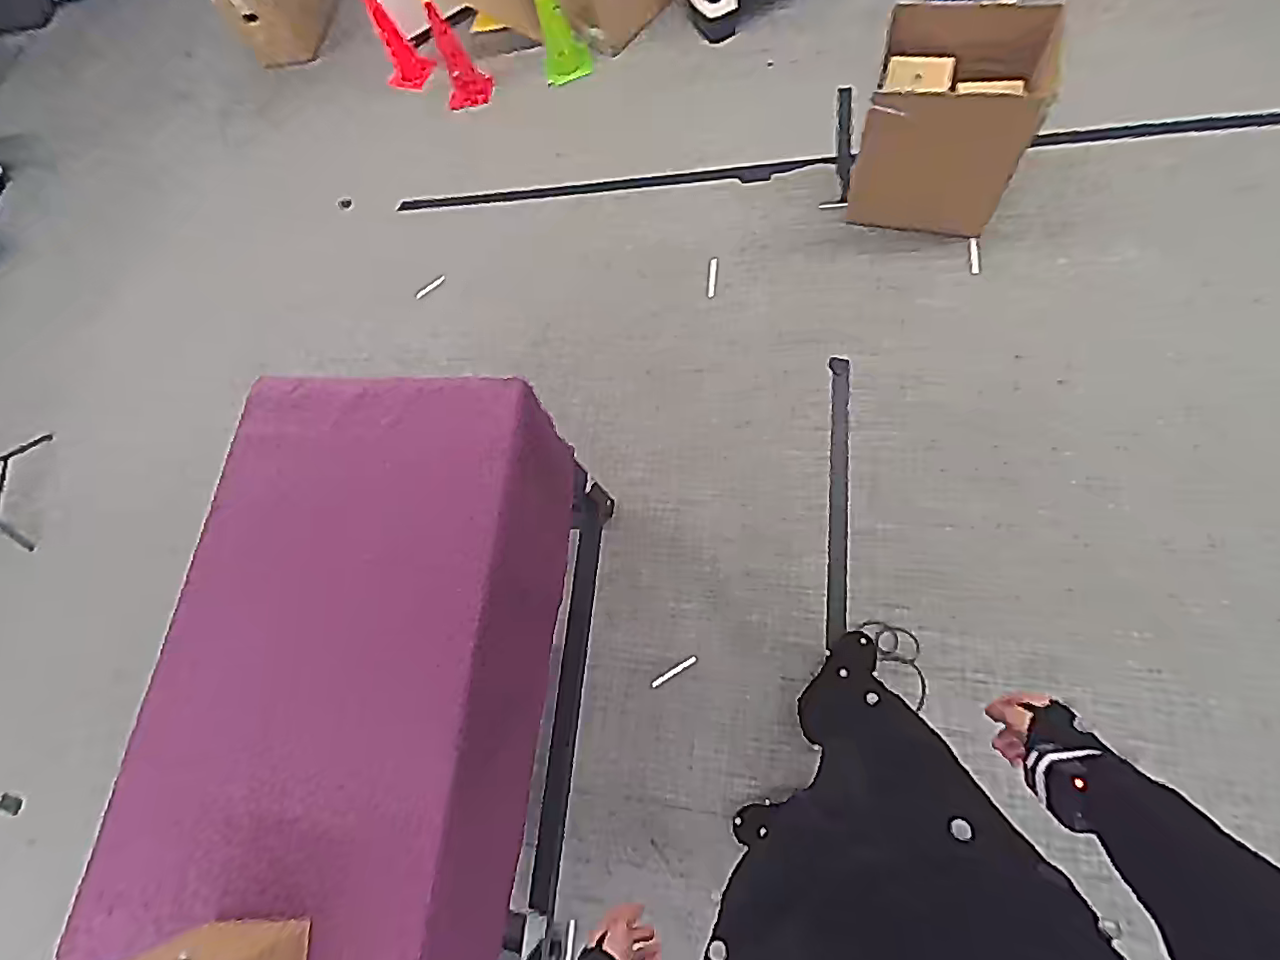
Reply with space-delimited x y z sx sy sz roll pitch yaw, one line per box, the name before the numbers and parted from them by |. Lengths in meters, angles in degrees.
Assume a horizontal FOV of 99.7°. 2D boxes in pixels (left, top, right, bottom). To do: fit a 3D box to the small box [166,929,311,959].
small box | -0.552 0.699 0.679 0.179 0.176 0.168 -10 69 10
